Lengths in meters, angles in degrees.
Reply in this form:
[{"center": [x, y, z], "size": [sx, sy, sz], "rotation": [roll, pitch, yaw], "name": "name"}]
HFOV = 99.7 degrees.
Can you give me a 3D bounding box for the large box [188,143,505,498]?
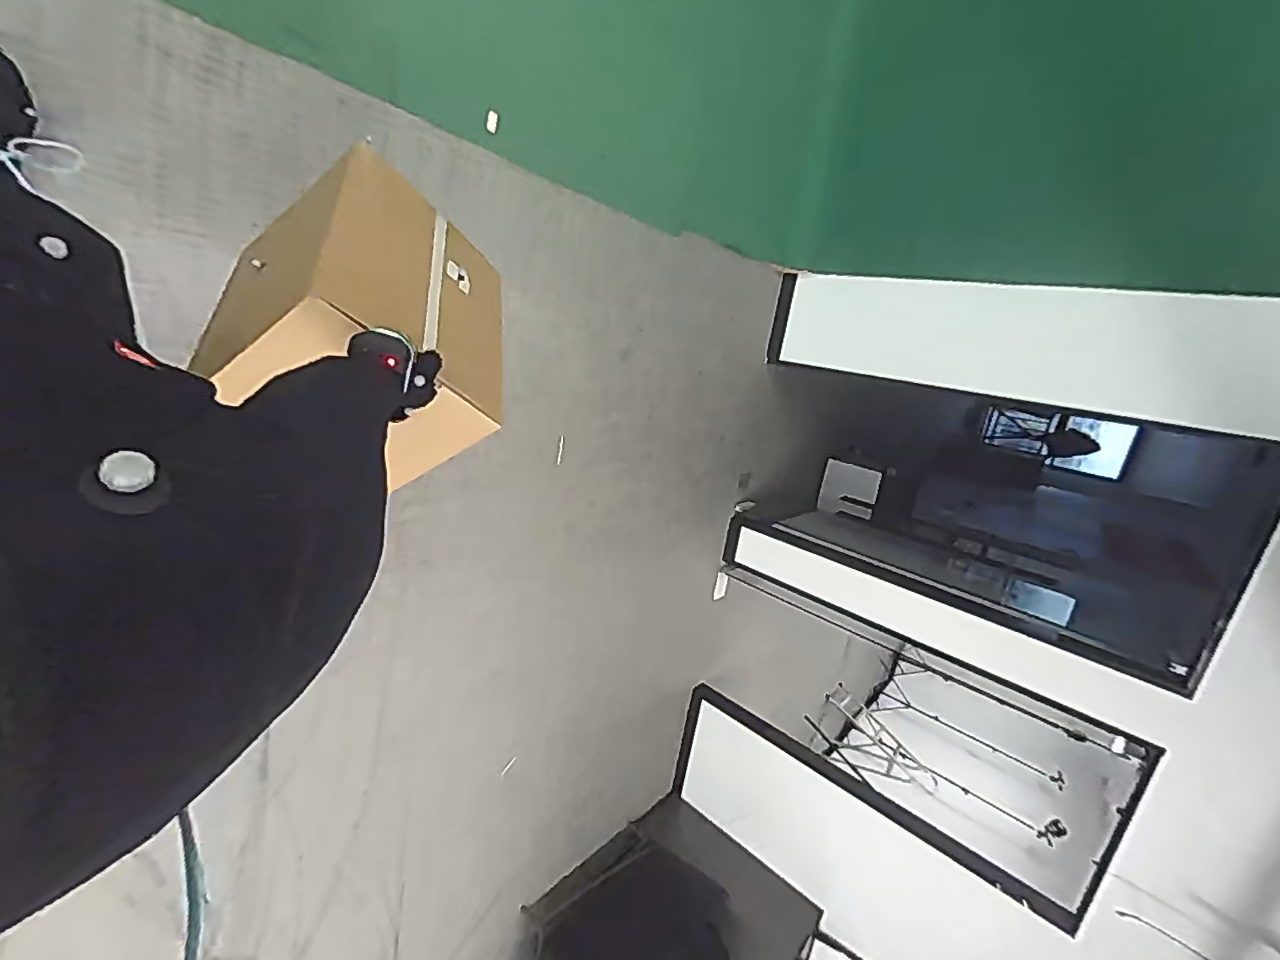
[{"center": [-0.452, -0.243, 0.900], "size": [0.320, 0.320, 0.408], "rotation": [39, 31, -49], "name": "large box"}]
